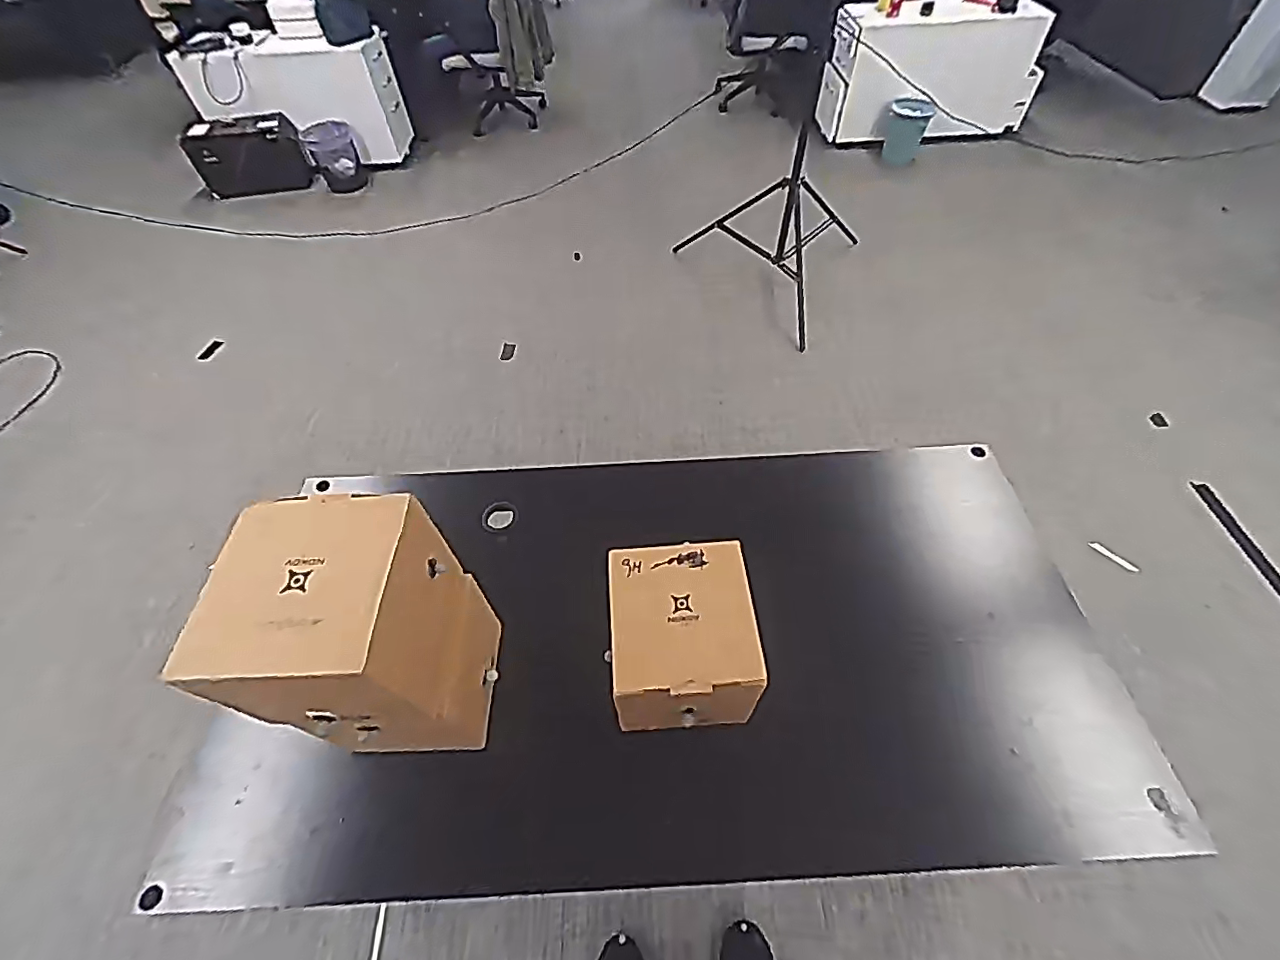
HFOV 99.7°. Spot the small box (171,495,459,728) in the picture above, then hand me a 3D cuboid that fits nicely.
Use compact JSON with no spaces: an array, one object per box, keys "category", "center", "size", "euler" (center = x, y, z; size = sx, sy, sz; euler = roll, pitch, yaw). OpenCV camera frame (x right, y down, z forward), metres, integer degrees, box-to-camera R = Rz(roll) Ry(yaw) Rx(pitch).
[{"category":"small box","center":[-0.295,0.135,0.545],"size":[0.168,0.176,0.179],"euler":[-4,54,1]}]

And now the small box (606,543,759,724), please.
[{"category":"small box","center":[0.047,0.201,0.688],"size":[0.168,0.176,0.179],"euler":[-4,53,-1]}]

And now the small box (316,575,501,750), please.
[{"category":"small box","center":[-0.288,0.232,0.675],"size":[0.179,0.176,0.168],"euler":[-1,53,0]}]
